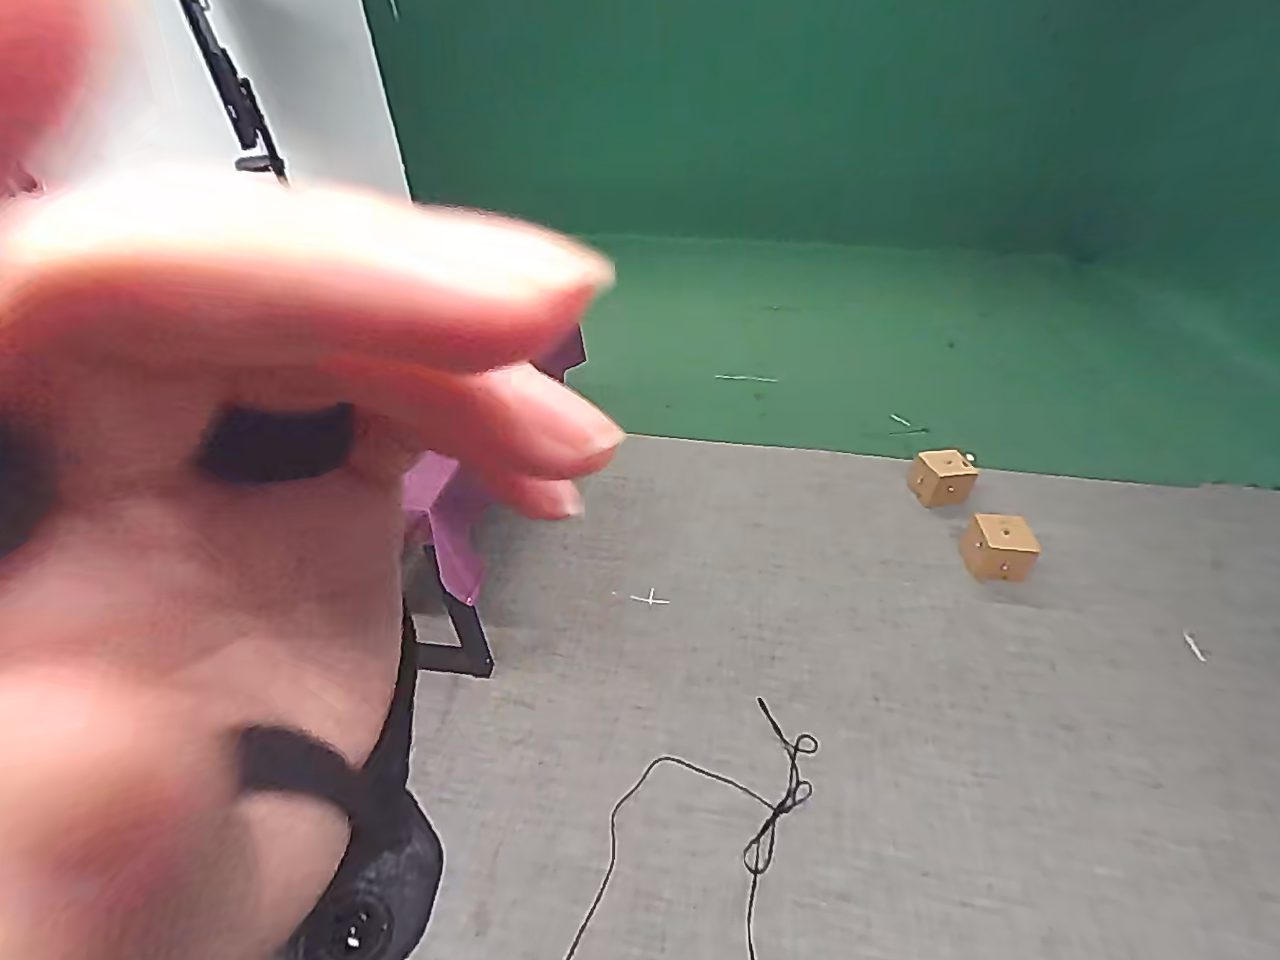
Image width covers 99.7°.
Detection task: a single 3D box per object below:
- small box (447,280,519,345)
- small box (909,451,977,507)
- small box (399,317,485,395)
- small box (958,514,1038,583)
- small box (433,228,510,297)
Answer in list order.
[{"bbox_3d":[-0.528,-0.576,1.850,0.168,0.176,0.179,9,40,11],"label":"small box"},{"bbox_3d":[1.253,-0.002,2.257,0.179,0.176,0.168,-6,39,-5],"label":"small box"},{"bbox_3d":[-0.571,-0.364,1.591,0.168,0.176,0.179,4,39,6],"label":"small box"},{"bbox_3d":[1.282,0.248,1.949,0.168,0.176,0.179,6,40,7],"label":"small box"},{"bbox_3d":[-0.535,-0.702,1.747,0.168,0.176,0.179,7,40,9],"label":"small box"}]
